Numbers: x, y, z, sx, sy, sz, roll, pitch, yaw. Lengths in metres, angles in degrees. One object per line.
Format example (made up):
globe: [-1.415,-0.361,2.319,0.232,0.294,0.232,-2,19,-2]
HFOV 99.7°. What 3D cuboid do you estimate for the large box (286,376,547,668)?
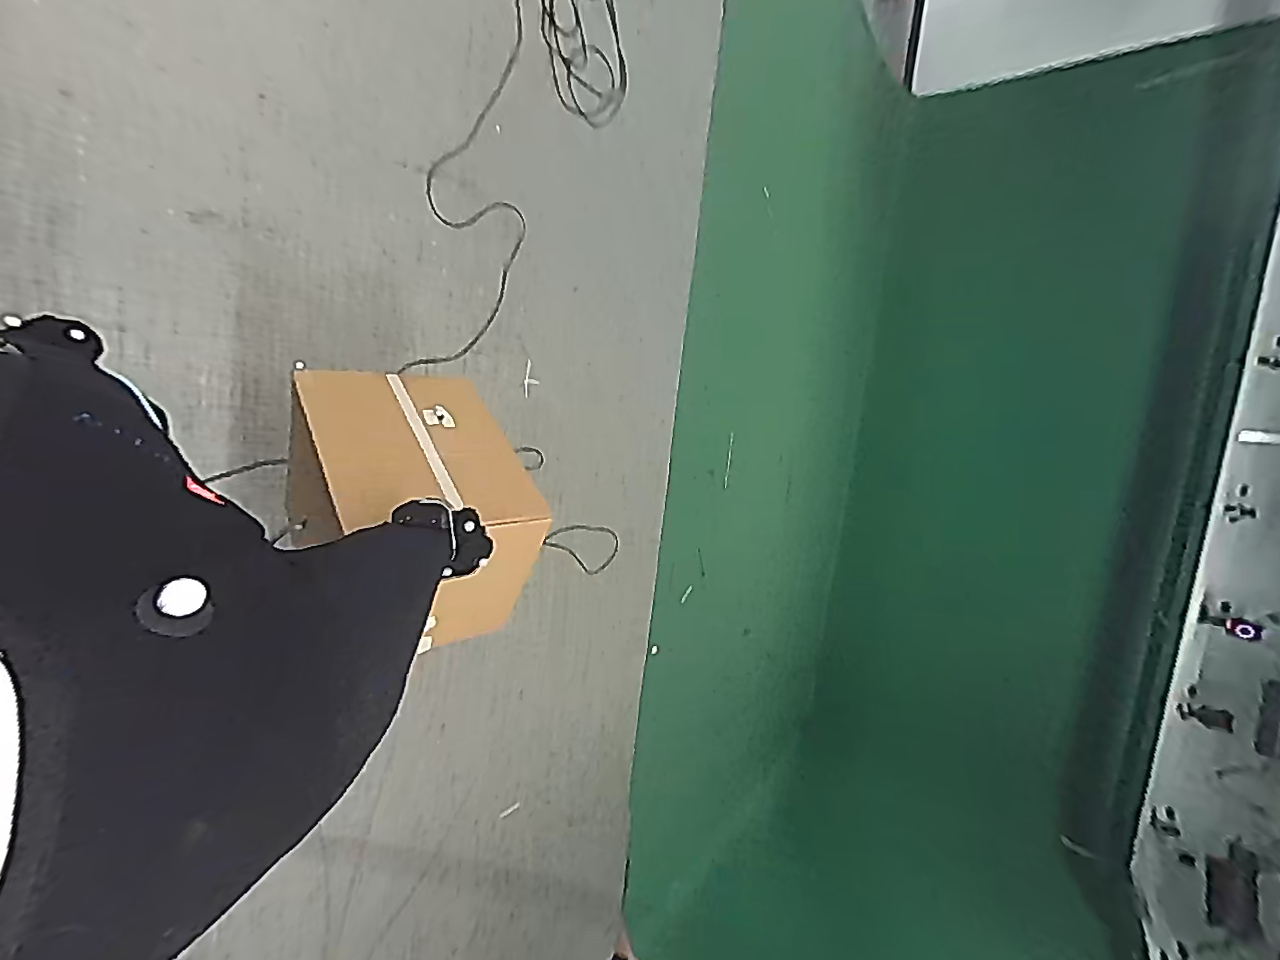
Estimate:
large box: [-0.431,0.057,0.992,0.320,0.408,0.320,-3,133,-42]
